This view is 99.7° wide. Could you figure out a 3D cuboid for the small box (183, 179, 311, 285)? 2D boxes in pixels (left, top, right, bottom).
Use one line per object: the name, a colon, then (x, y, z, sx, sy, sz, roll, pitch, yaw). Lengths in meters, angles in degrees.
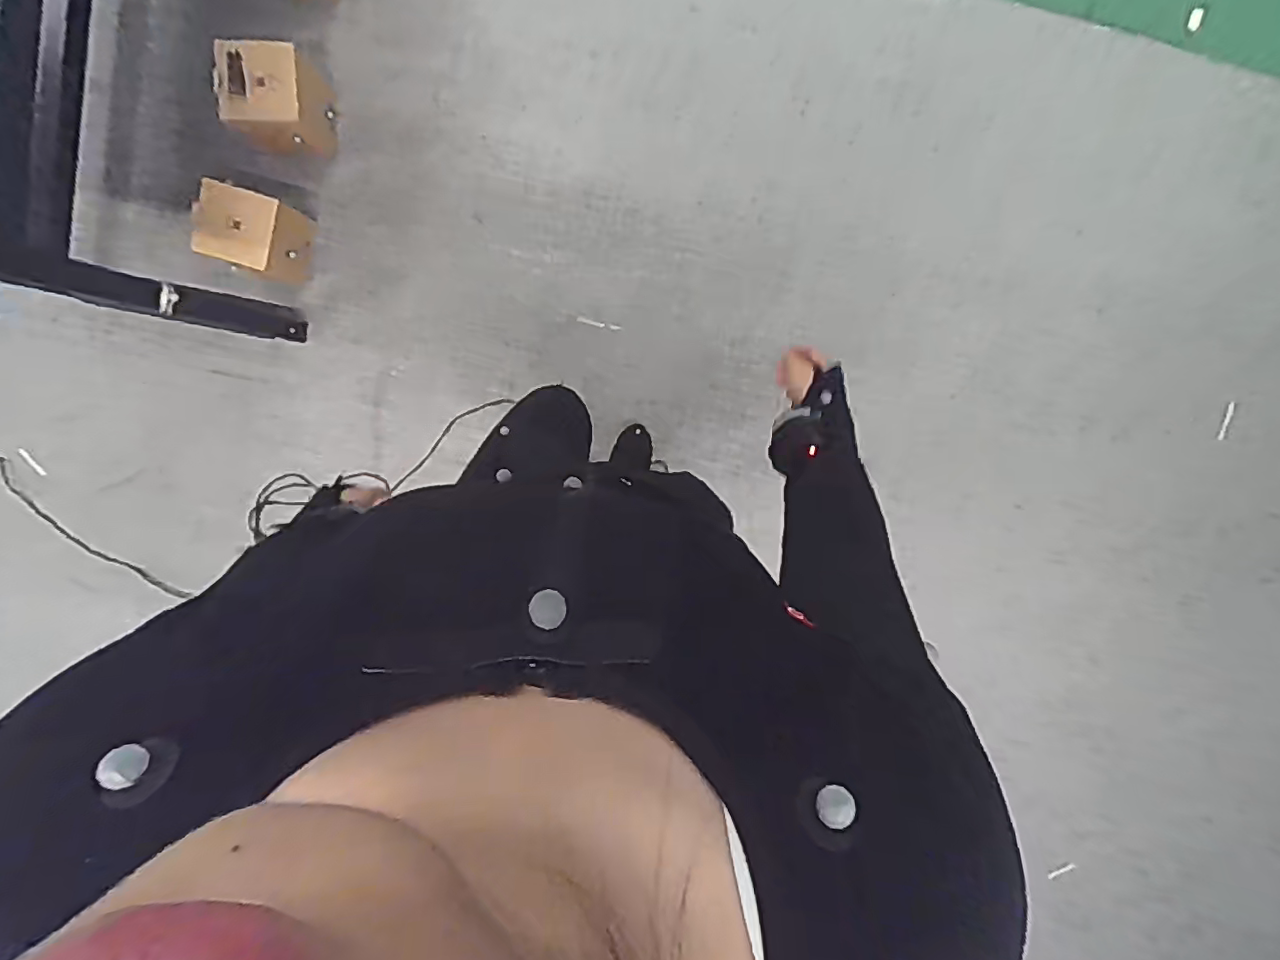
small box: (-0.933, -0.583, 1.299, 0.179, 0.176, 0.168, 16, 96, -3)
